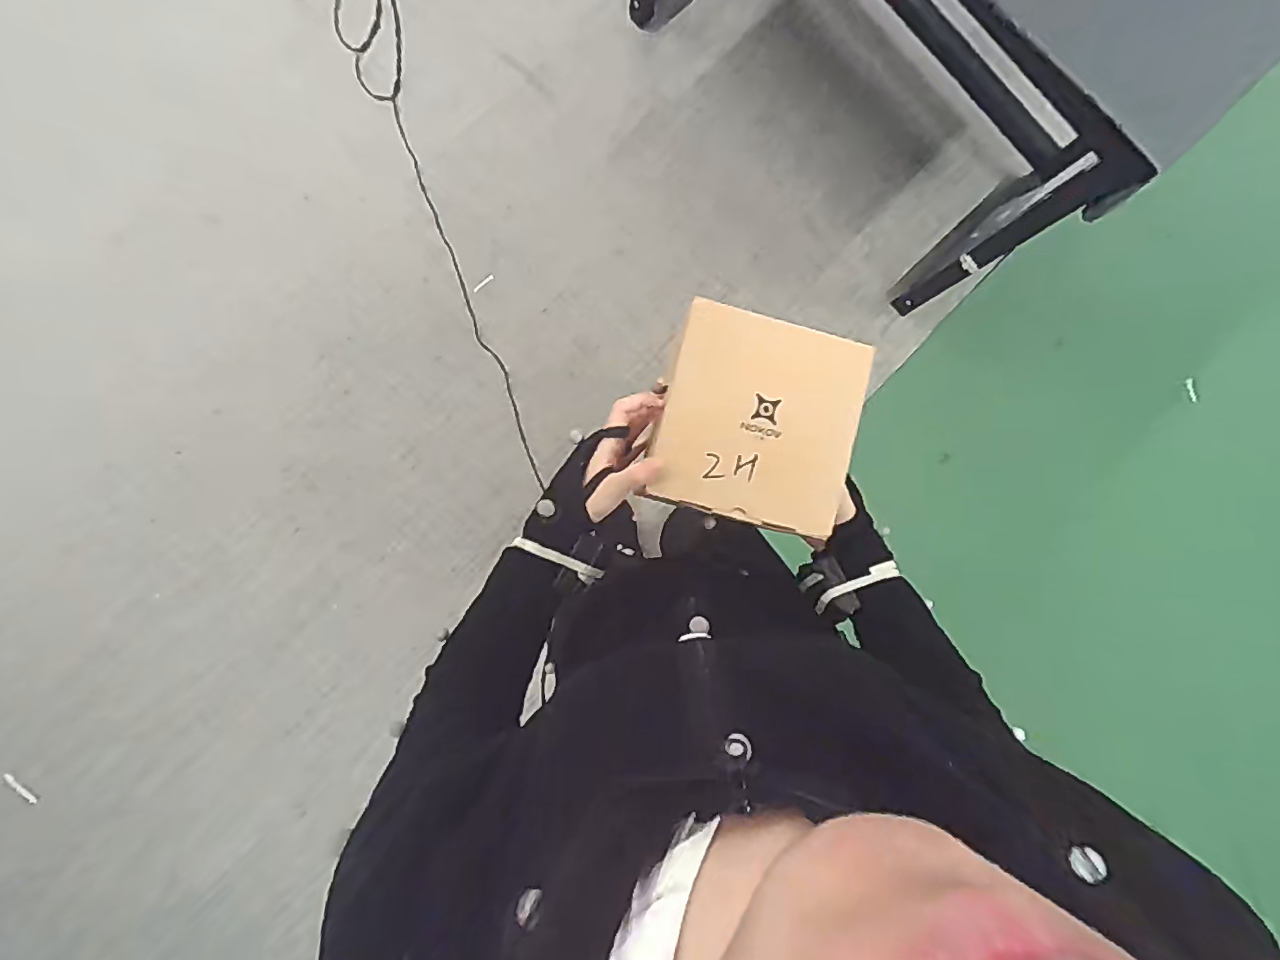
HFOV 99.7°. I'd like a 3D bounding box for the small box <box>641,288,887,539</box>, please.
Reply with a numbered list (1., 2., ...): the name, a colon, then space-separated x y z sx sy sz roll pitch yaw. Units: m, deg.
1. small box: 0.103 -0.052 0.527 0.168 0.176 0.179 15 86 -4
